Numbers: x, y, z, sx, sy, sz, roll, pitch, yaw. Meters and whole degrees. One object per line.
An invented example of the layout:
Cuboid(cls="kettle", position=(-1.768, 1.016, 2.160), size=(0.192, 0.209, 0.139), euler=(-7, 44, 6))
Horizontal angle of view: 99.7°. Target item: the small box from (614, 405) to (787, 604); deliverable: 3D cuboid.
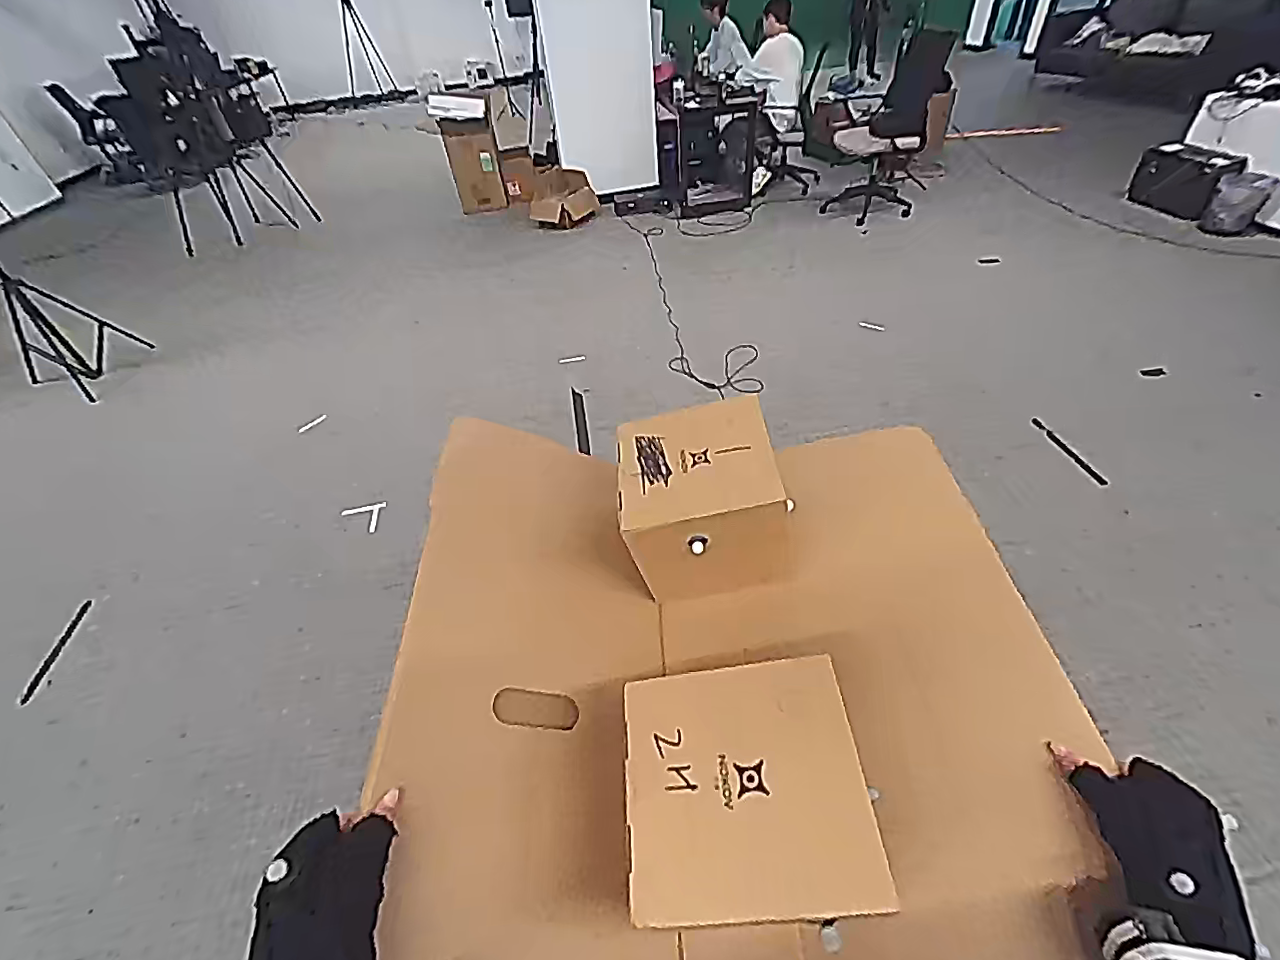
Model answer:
Cuboid(cls="small box", position=(0.076, 0.038, 0.677), size=(0.179, 0.176, 0.168), euler=(-12, 48, 9))

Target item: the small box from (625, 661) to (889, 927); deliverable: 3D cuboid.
Cuboid(cls="small box", position=(0.093, 0.276, 0.468), size=(0.179, 0.176, 0.168), euler=(-12, 48, 10))
